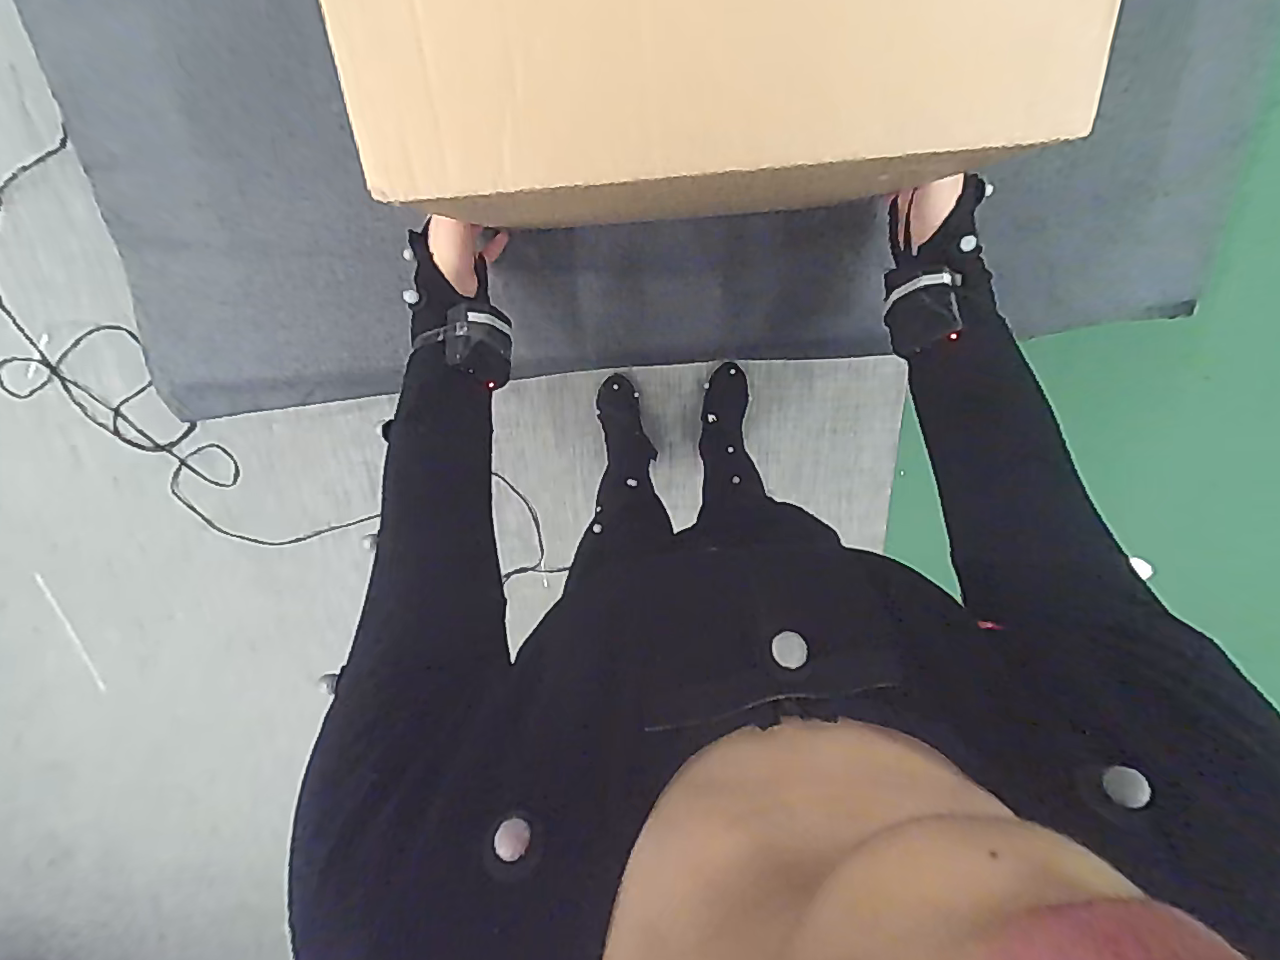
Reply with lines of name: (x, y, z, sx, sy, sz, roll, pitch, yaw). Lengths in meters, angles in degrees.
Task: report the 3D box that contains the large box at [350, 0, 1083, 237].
large box: (0.033, -0.379, 0.406, 0.408, 0.320, 0.320, -5, 112, 2)
